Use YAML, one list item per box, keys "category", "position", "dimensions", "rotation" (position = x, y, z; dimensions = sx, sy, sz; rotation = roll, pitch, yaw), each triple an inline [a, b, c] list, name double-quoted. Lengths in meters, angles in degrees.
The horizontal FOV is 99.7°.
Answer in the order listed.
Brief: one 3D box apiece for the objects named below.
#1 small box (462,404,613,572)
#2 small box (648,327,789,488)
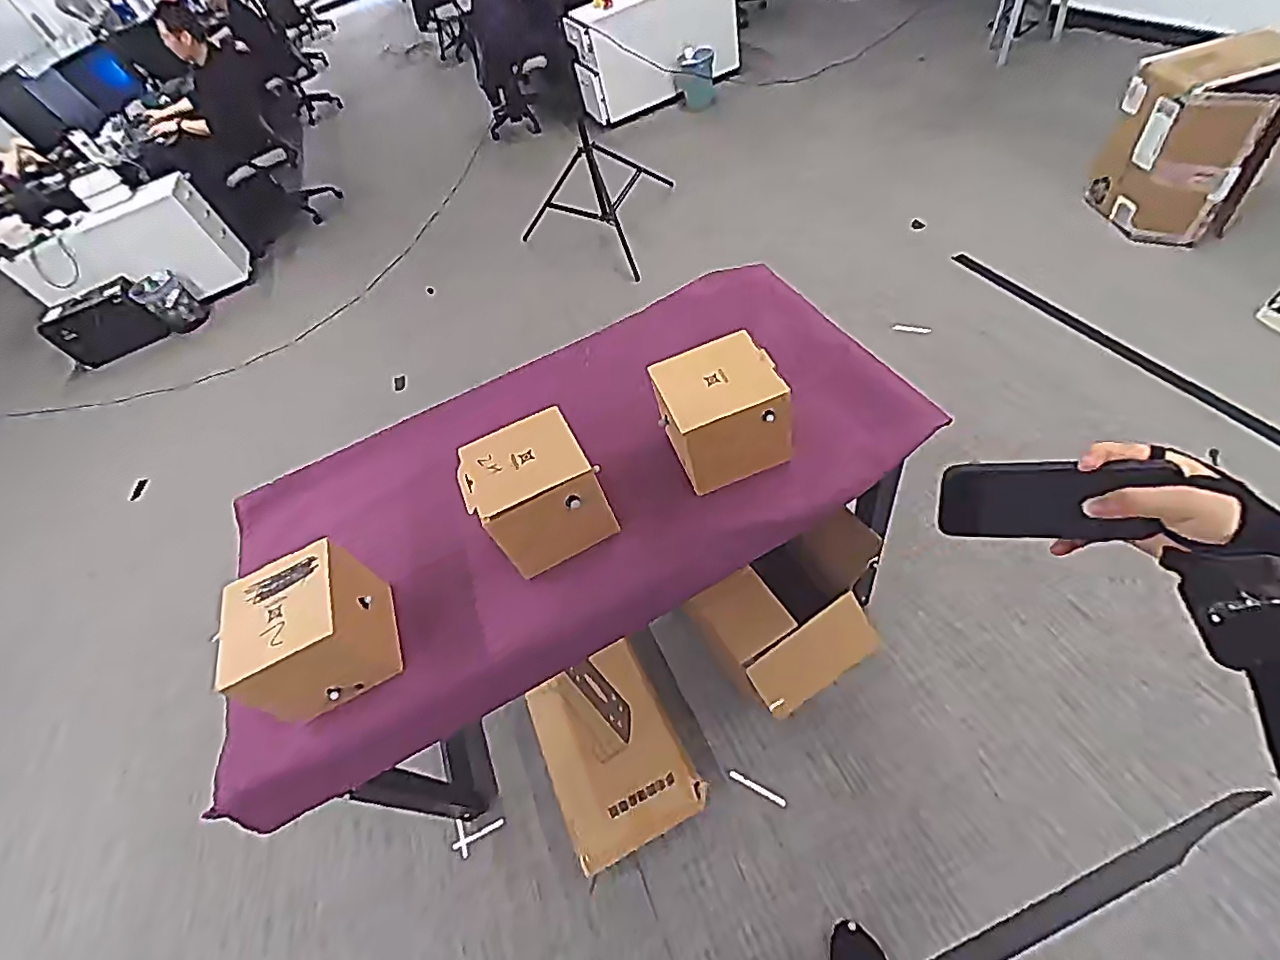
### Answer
- category: "small box"
  position: [-0.157, 0.016, 0.875]
  dimensions: [0.179, 0.176, 0.168]
  rotation: [-28, 49, -6]
- category: "small box"
  position: [0.134, -0.113, 0.893]
  dimensions: [0.179, 0.176, 0.168]
  rotation: [-22, 52, -1]
